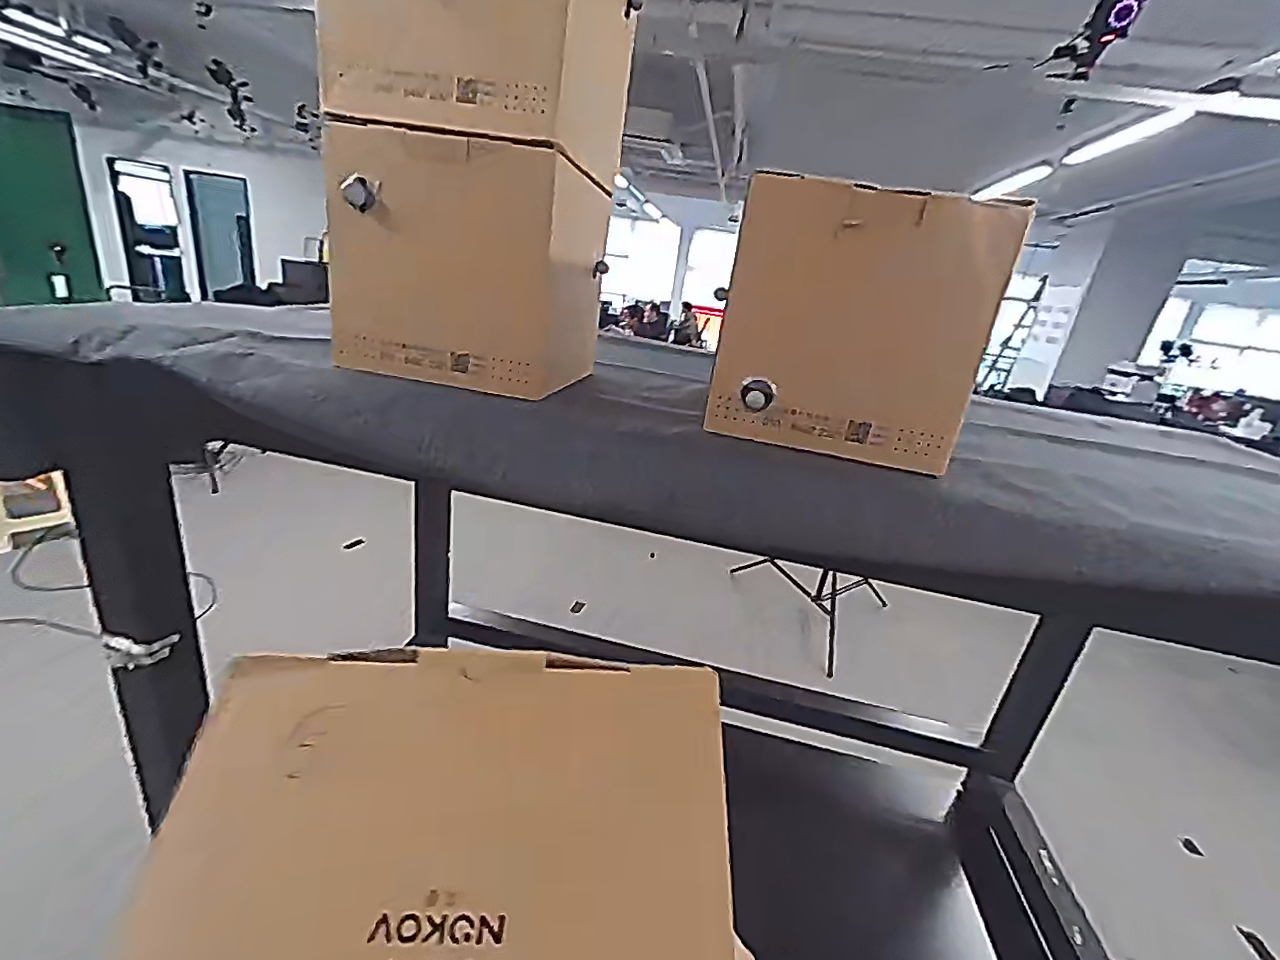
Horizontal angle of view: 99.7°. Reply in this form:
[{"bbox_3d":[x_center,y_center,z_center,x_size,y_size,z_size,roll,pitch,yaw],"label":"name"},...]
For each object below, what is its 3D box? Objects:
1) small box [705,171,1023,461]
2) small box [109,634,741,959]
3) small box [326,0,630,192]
[{"bbox_3d":[0.149,-0.122,0.425,0.168,0.176,0.179,12,18,7],"label":"small box"},{"bbox_3d":[-0.059,0.171,0.209,0.168,0.176,0.179,2,58,-3],"label":"small box"},{"bbox_3d":[-0.108,-0.327,0.404,0.168,0.176,0.179,11,18,7],"label":"small box"}]
